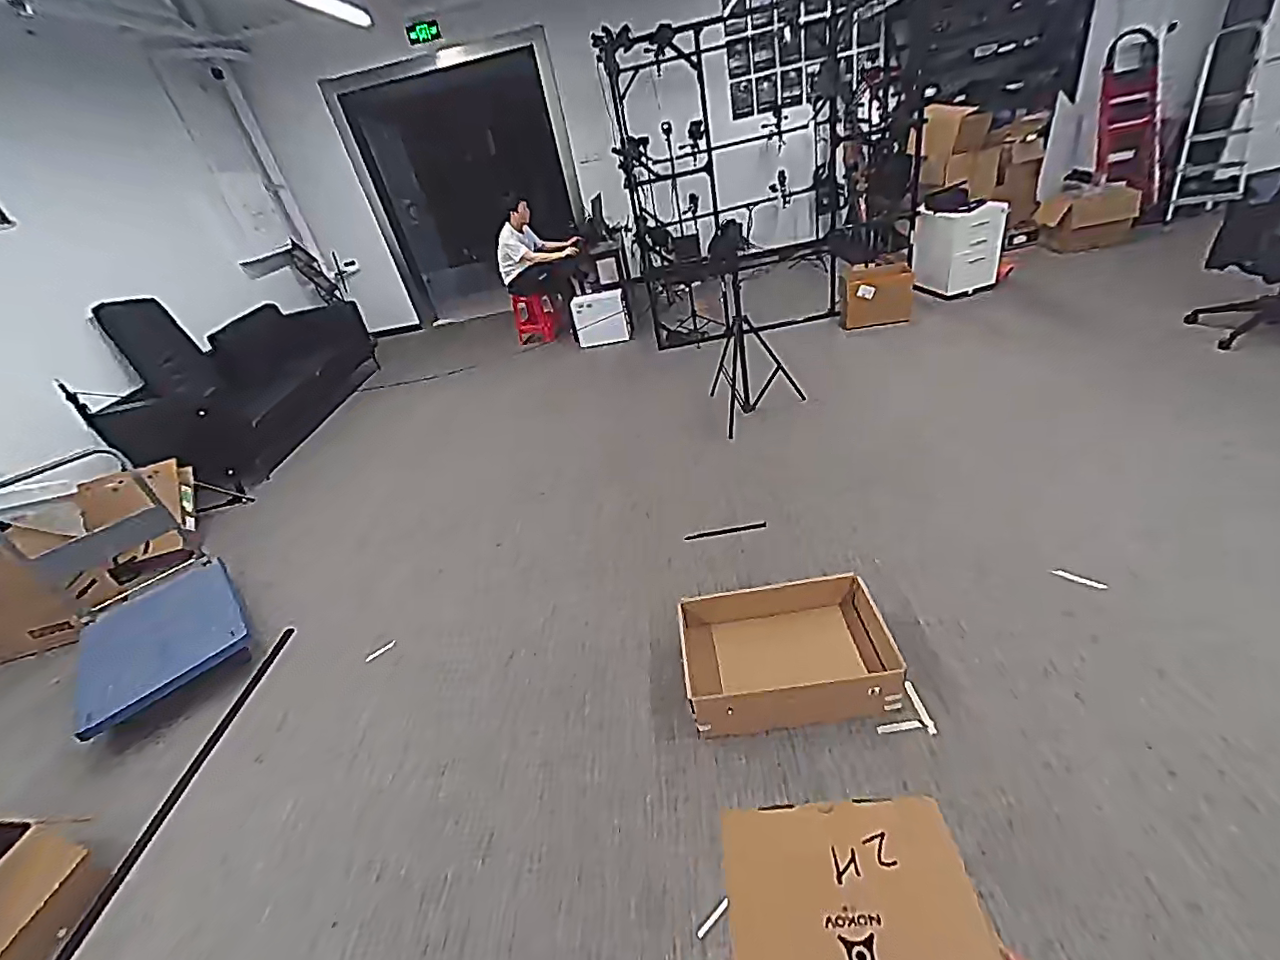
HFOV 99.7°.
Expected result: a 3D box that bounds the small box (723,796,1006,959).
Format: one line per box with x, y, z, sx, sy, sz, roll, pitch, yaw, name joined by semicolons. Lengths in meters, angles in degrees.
0.156;0.362;0.387;0.168;0.176;0.179;-7;31;6;small box
